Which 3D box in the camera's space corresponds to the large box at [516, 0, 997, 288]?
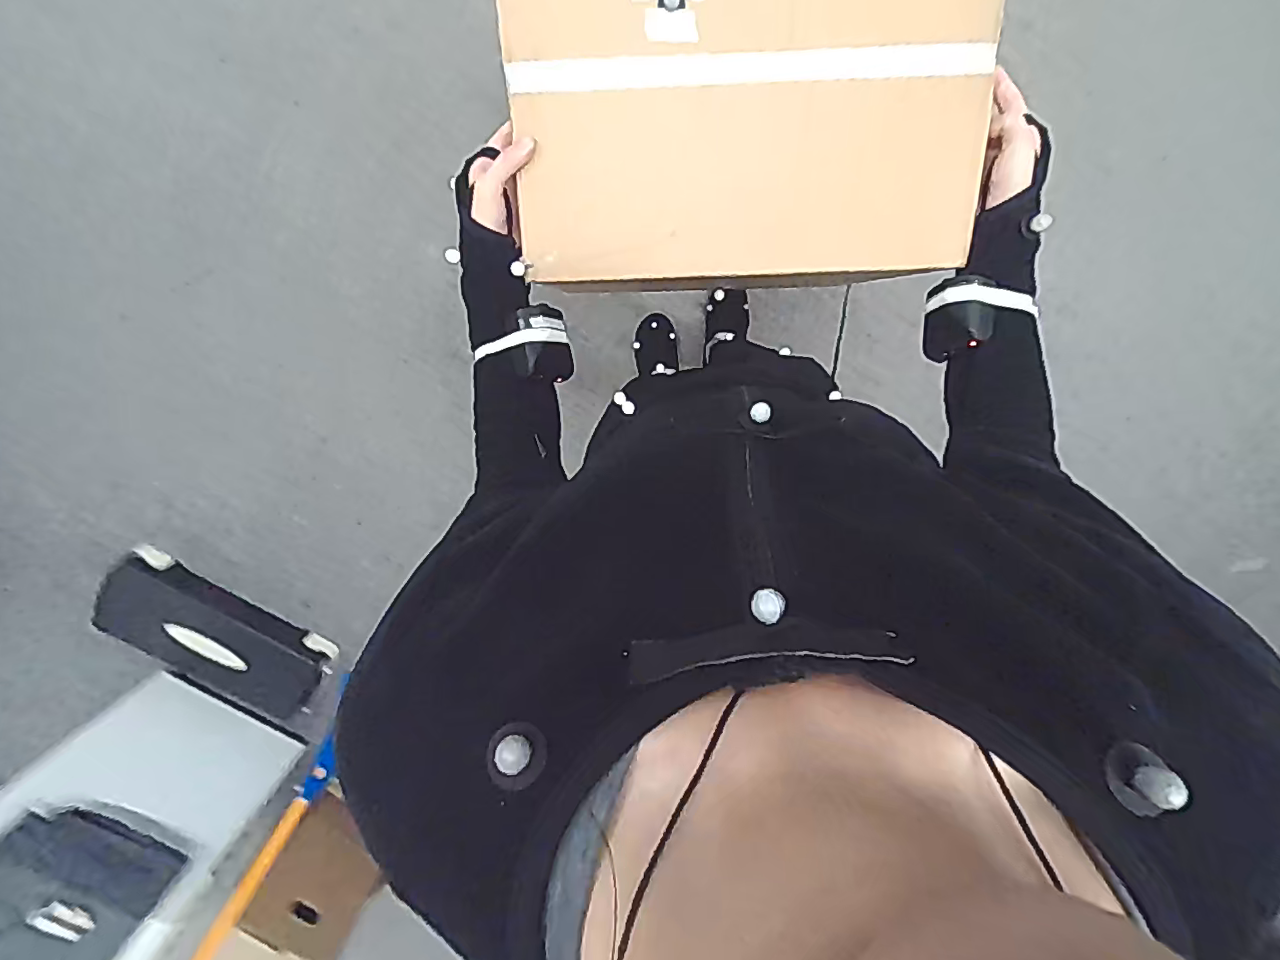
[{"bbox_3d":[0.099,-0.386,0.604,0.408,0.320,0.320,-1,106,1],"label":"large box"}]
